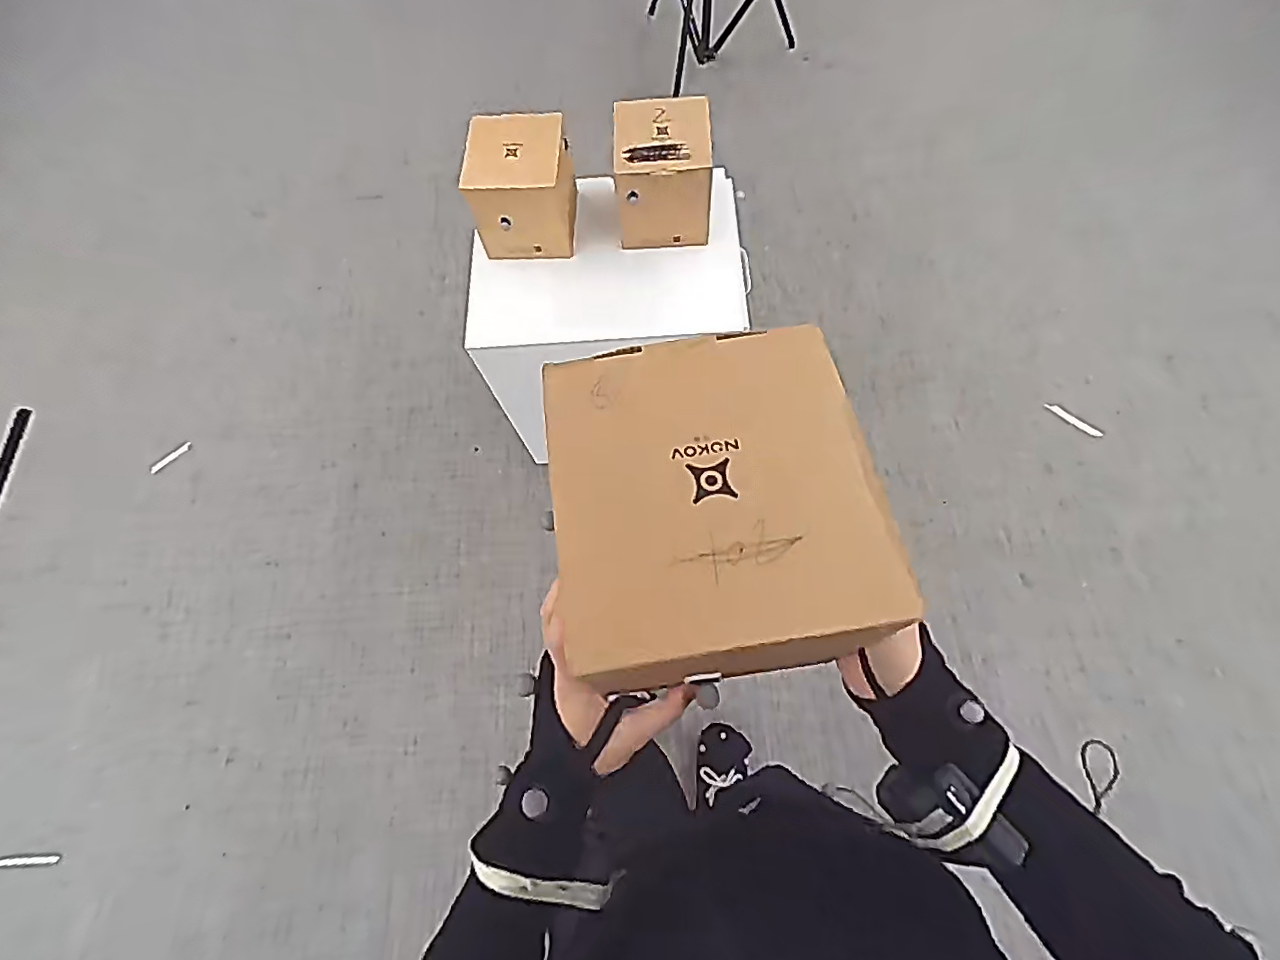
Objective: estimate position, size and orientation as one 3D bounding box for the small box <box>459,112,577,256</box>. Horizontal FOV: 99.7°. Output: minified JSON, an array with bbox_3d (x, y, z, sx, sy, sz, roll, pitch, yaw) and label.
[{"bbox_3d":[-0.213,-0.533,0.993,0.168,0.176,0.179,0,70,3],"label":"small box"}]

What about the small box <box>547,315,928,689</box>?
[{"bbox_3d":[0.041,0.026,0.348,0.168,0.176,0.179,-9,66,-1],"label":"small box"}]
